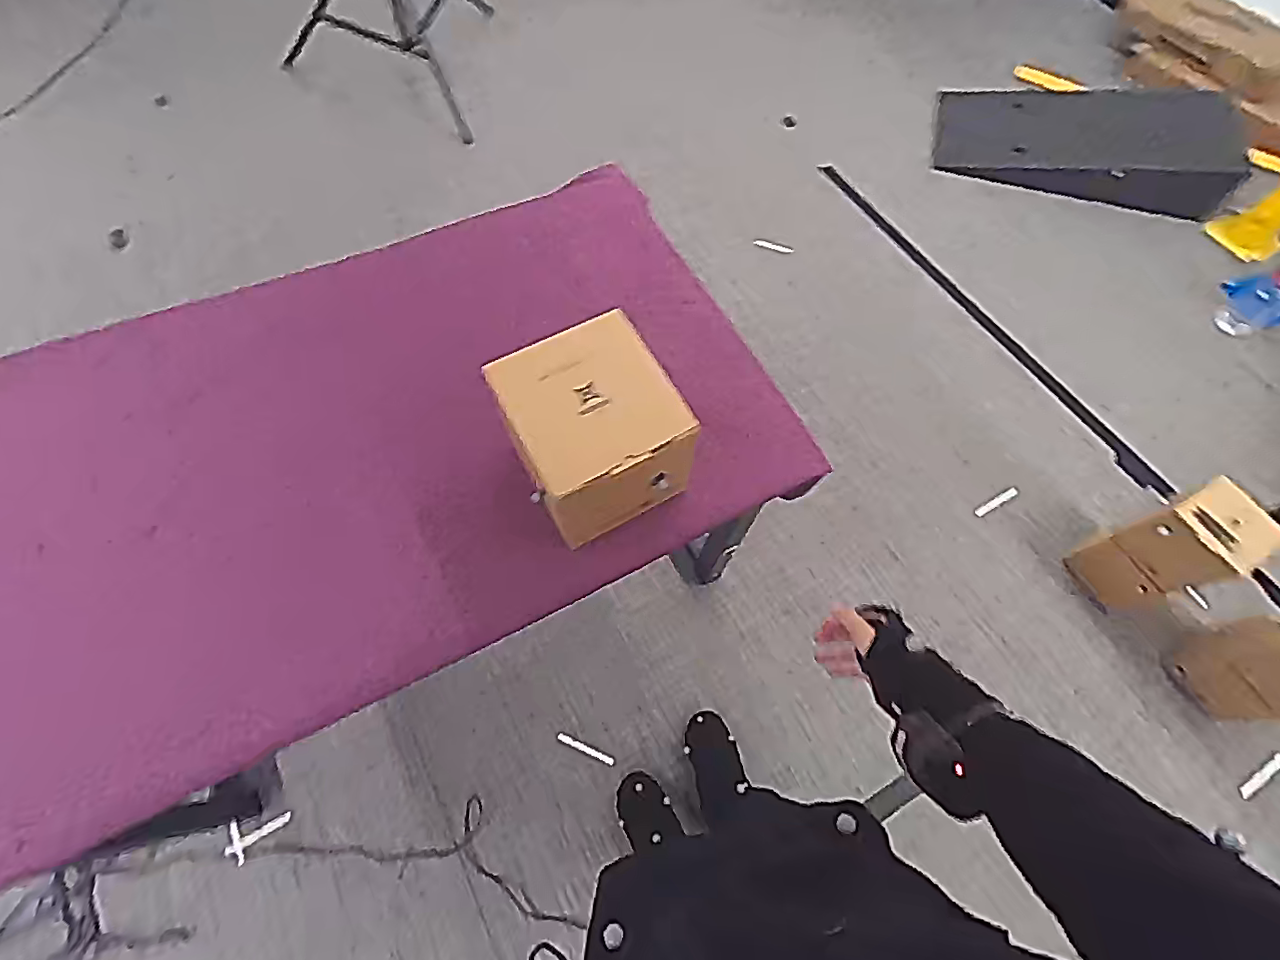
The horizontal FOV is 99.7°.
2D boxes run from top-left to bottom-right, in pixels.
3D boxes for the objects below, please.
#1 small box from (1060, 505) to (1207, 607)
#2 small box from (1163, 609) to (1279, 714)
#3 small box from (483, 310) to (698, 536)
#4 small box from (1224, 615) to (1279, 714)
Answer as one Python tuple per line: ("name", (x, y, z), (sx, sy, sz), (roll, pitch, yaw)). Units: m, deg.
("small box", (1.221, 0.195, 1.355), (0.168, 0.176, 0.179), (-26, 70, -13))
("small box", (1.391, 0.428, 1.257), (0.179, 0.176, 0.168), (-27, 71, -14))
("small box", (-0.054, -0.053, 0.625), (0.168, 0.176, 0.179), (-28, 69, -14))
("small box", (1.383, 0.374, 1.101), (0.168, 0.176, 0.179), (-26, 70, -12))
